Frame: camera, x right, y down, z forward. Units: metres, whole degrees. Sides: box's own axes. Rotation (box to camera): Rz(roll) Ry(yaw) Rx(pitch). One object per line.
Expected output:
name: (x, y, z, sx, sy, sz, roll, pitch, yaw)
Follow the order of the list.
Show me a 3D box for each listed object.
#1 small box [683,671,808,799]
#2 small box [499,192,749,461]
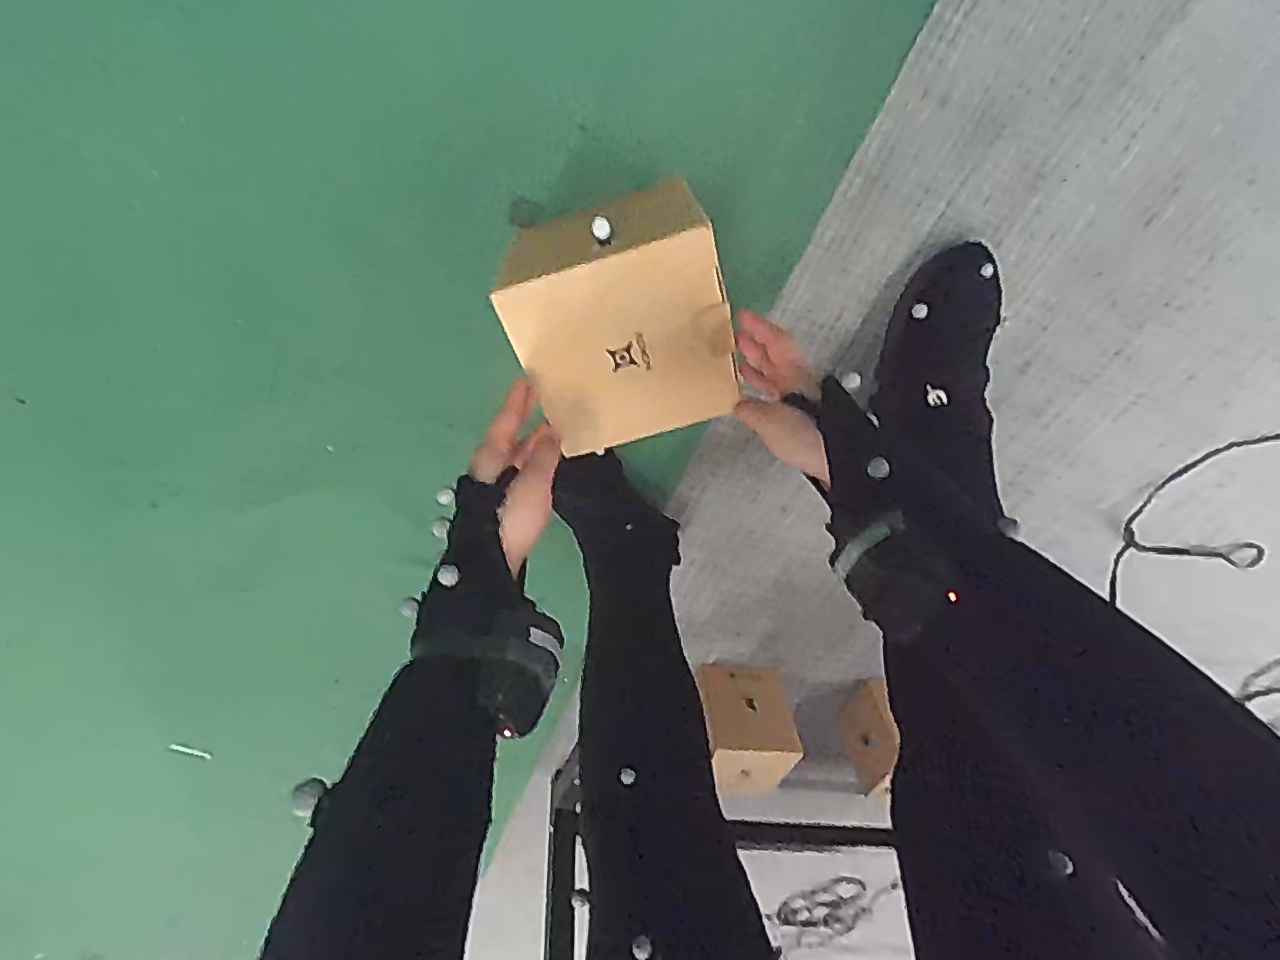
small box: (0.189, 0.488, 1.040, 0.168, 0.176, 0.179, 9, 127, -12)
small box: (-0.011, -0.149, 0.513, 0.179, 0.176, 0.168, -16, 128, 6)
